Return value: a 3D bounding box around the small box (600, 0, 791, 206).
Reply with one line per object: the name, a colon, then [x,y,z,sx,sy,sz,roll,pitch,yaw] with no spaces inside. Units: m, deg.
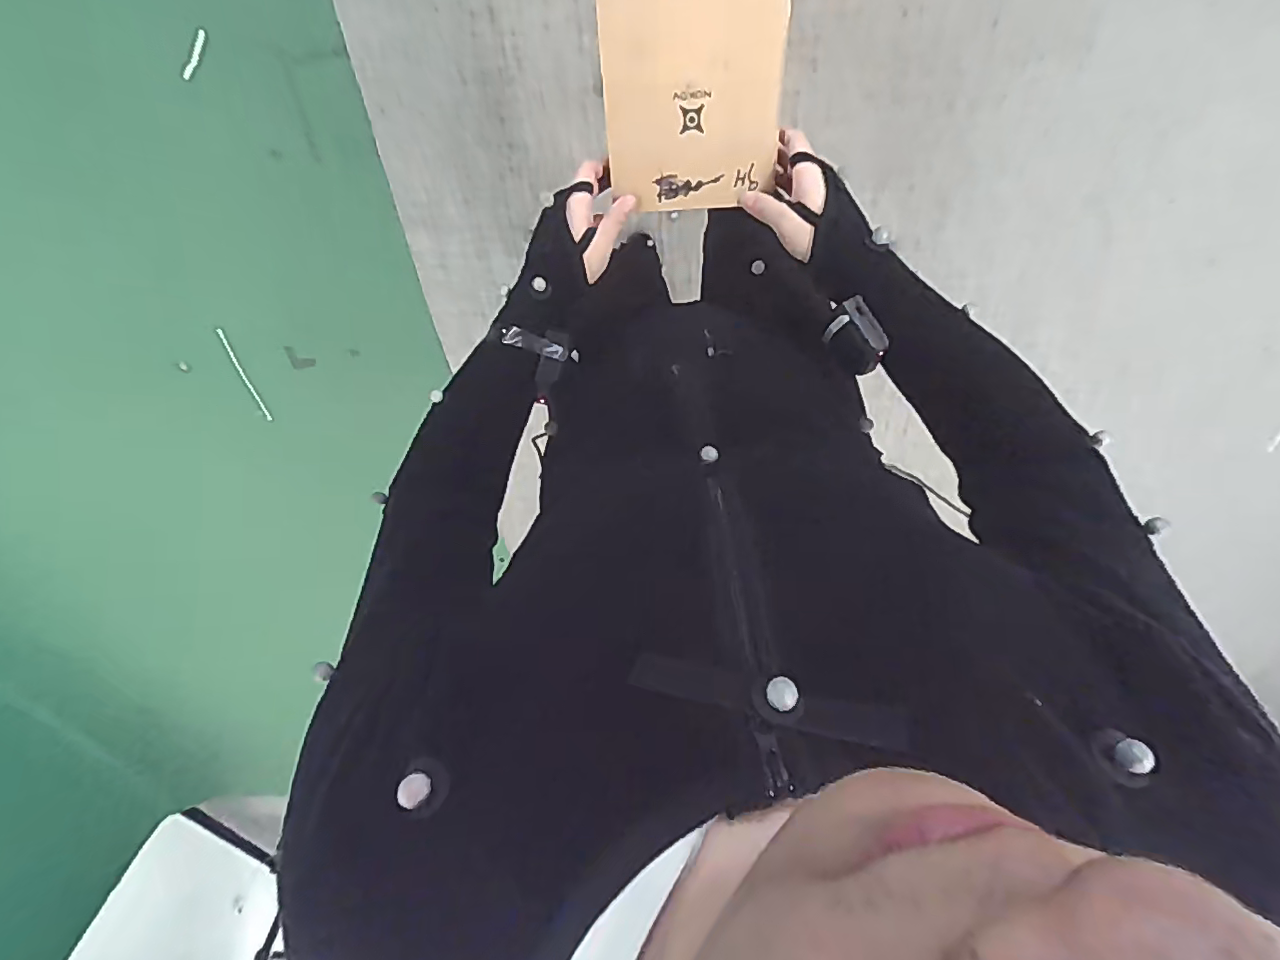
small box: [0.049,-0.401,0.560,0.168,0.176,0.179,-2,130,2]
